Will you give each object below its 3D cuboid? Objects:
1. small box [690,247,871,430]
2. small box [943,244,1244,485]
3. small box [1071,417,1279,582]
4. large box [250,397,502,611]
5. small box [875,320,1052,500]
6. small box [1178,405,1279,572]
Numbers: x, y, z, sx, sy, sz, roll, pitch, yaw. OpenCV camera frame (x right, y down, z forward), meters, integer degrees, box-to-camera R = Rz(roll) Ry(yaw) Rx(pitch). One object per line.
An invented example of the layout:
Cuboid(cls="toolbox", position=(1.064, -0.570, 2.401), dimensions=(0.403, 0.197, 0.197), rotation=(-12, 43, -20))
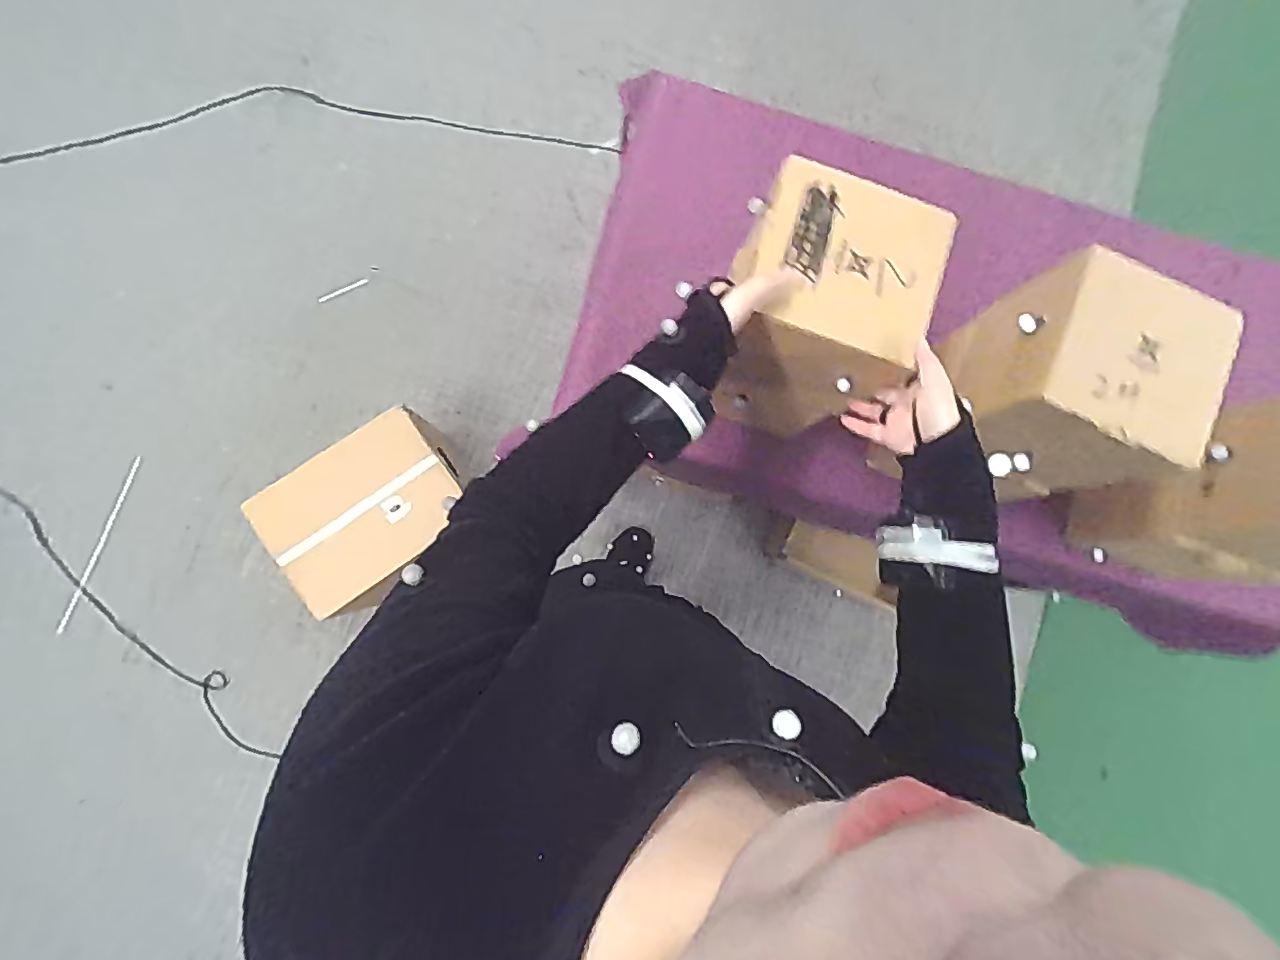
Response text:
Cuboid(cls="small box", position=(0.180, -0.181, 0.748), dimensions=(0.179, 0.176, 0.168), rotation=(20, 83, 0))
Cuboid(cls="small box", position=(0.476, -0.110, 0.595), dimensions=(0.168, 0.176, 0.179), rotation=(26, 83, 0))
Cuboid(cls="small box", position=(0.761, 0.032, 0.761), dimensions=(0.168, 0.176, 0.179), rotation=(20, 82, -1))
Cuboid(cls="large box", position=(-0.615, 0.066, 1.334), dimensions=(0.408, 0.320, 0.320), rotation=(-35, 88, -8))
Cuboid(cls="small box", position=(0.462, -0.085, 0.757), dimensions=(0.168, 0.176, 0.179), rotation=(25, 83, -1))
Cuboid(cls="small box", position=(0.776, 0.012, 0.600), dimensions=(0.179, 0.176, 0.168), rotation=(21, 81, -1))
